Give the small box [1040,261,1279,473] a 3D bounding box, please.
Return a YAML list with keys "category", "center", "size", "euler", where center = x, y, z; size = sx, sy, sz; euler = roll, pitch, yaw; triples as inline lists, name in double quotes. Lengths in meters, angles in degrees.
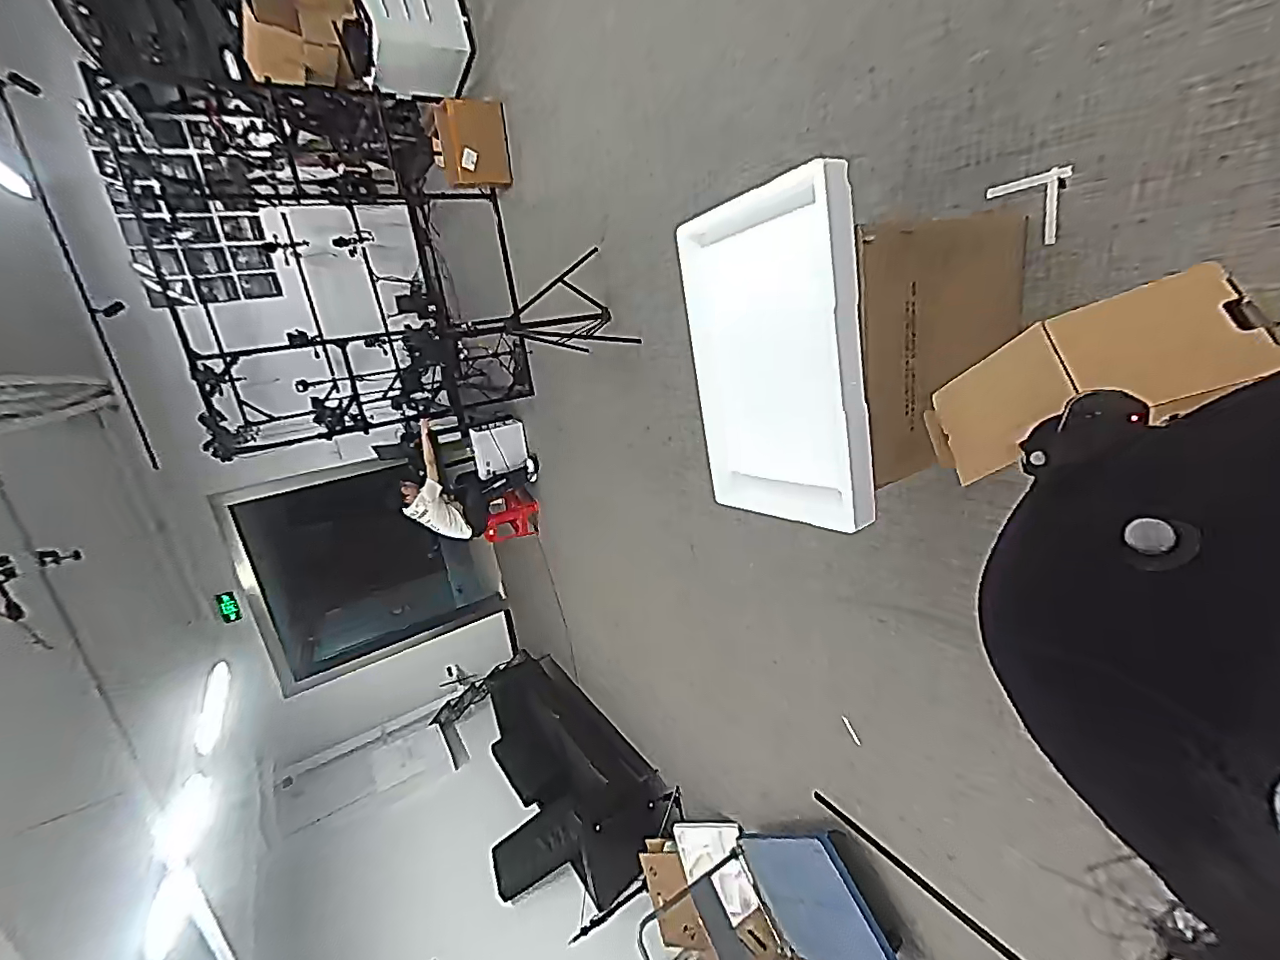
- category: "small box"
  center: [0.637, -0.127, 0.681]
  size: [0.179, 0.176, 0.168]
  euler: [-18, 57, 29]
